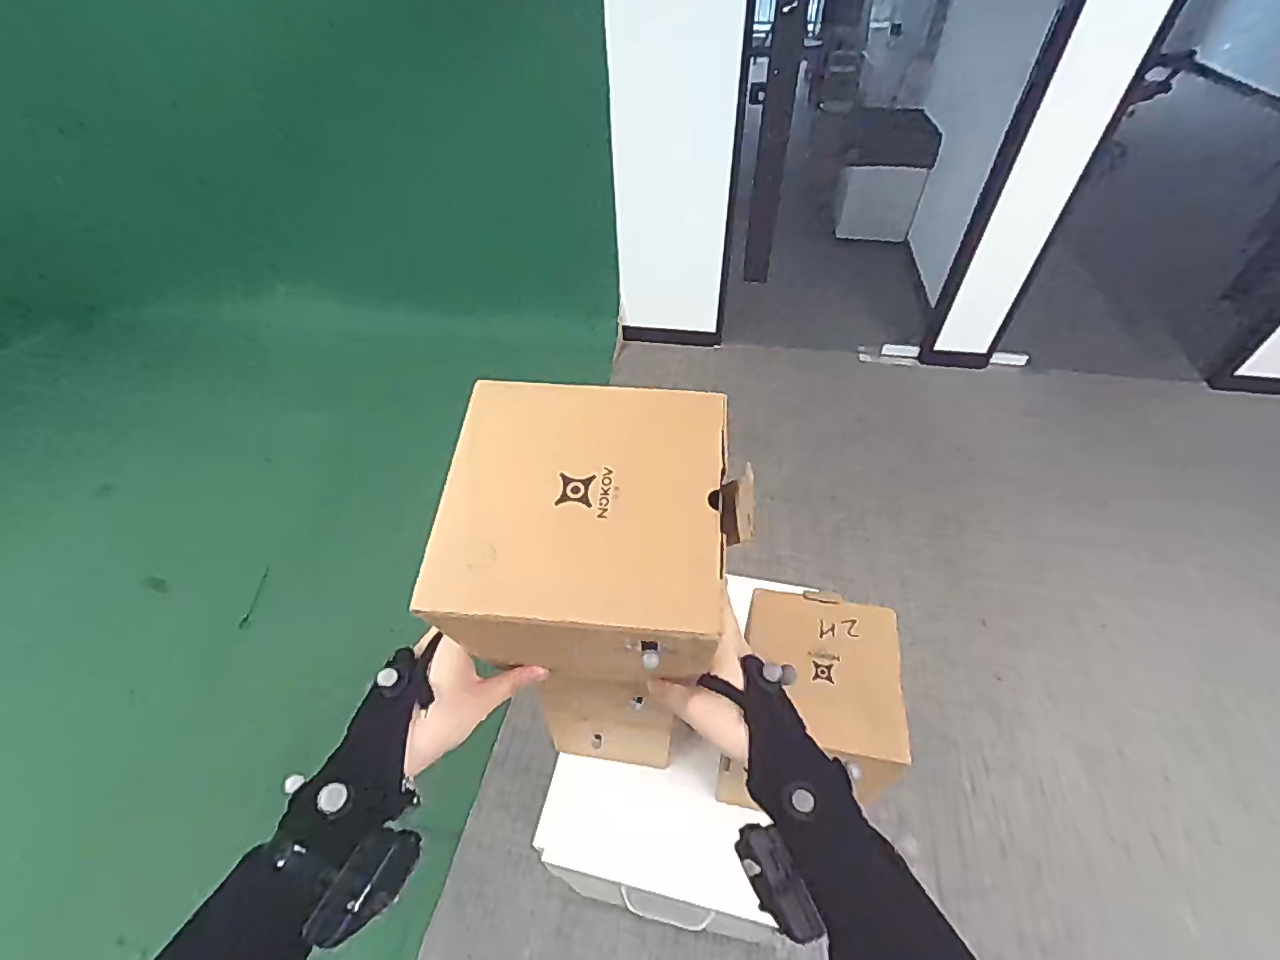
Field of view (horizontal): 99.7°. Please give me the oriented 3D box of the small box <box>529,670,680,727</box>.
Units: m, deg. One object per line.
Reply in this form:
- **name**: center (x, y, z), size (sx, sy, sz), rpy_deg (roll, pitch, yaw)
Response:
- **small box**: center (-0.033, 0.209, 0.711), size (0.179, 0.176, 0.168), rpy_deg (5, 47, 5)

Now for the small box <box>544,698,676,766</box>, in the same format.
- **small box**: center (-0.033, 0.322, 0.831), size (0.179, 0.176, 0.168), rpy_deg (7, 48, 5)

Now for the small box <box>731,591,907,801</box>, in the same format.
- **small box**: center (0.204, 0.263, 0.653), size (0.168, 0.176, 0.179), rpy_deg (8, 49, 10)

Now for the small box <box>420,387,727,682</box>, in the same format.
- **small box**: center (-0.031, 0.049, 0.409), size (0.179, 0.176, 0.168), rpy_deg (4, 60, 3)
